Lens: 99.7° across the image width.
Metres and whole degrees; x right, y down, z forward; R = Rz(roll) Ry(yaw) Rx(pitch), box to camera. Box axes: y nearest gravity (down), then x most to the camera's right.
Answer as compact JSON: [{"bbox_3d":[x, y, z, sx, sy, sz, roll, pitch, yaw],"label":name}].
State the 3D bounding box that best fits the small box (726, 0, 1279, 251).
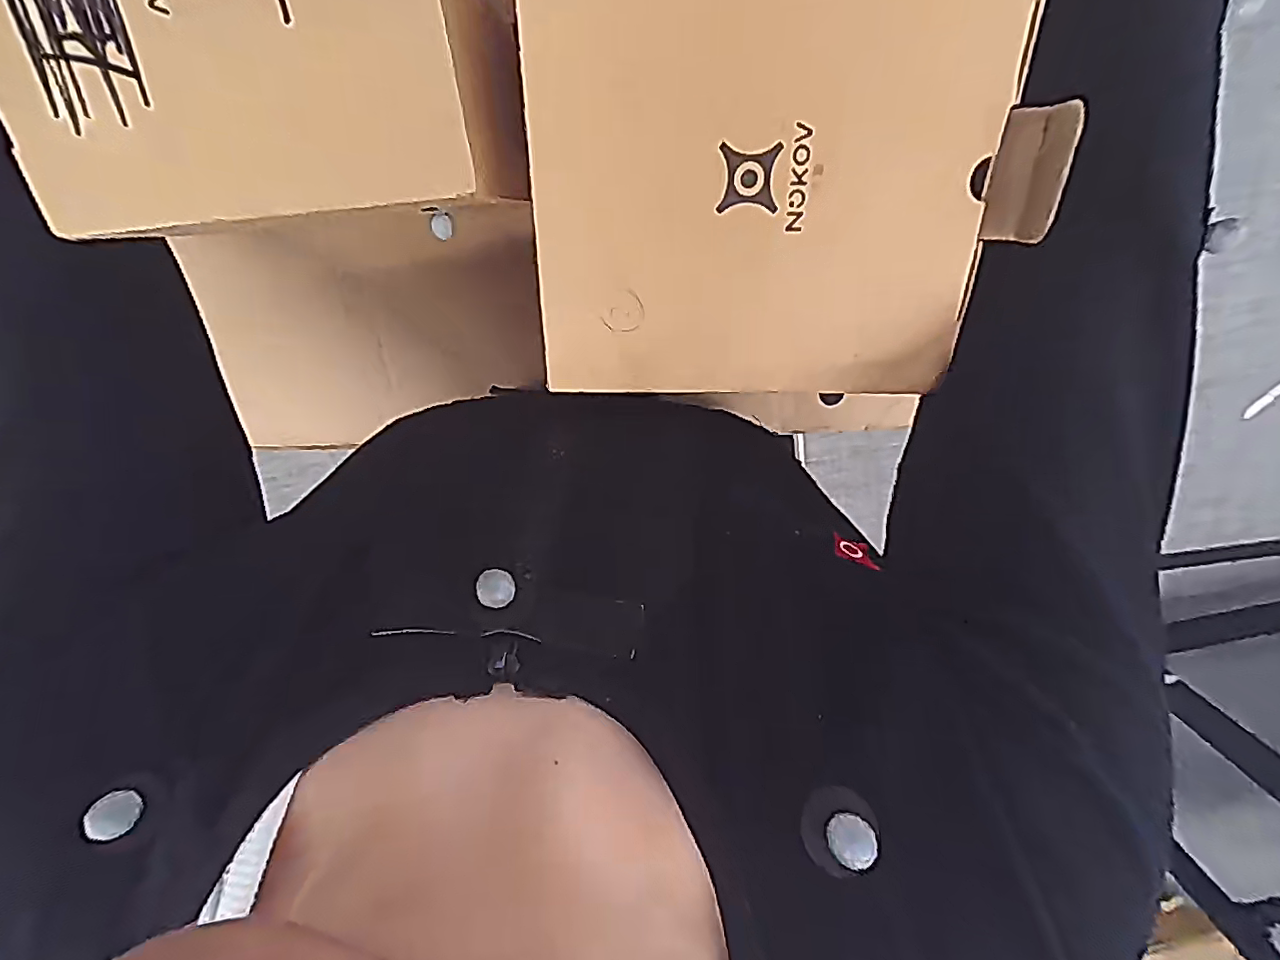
[{"bbox_3d":[0.145,-0.209,0.224,0.179,0.176,0.168,12,123,-4],"label":"small box"}]
